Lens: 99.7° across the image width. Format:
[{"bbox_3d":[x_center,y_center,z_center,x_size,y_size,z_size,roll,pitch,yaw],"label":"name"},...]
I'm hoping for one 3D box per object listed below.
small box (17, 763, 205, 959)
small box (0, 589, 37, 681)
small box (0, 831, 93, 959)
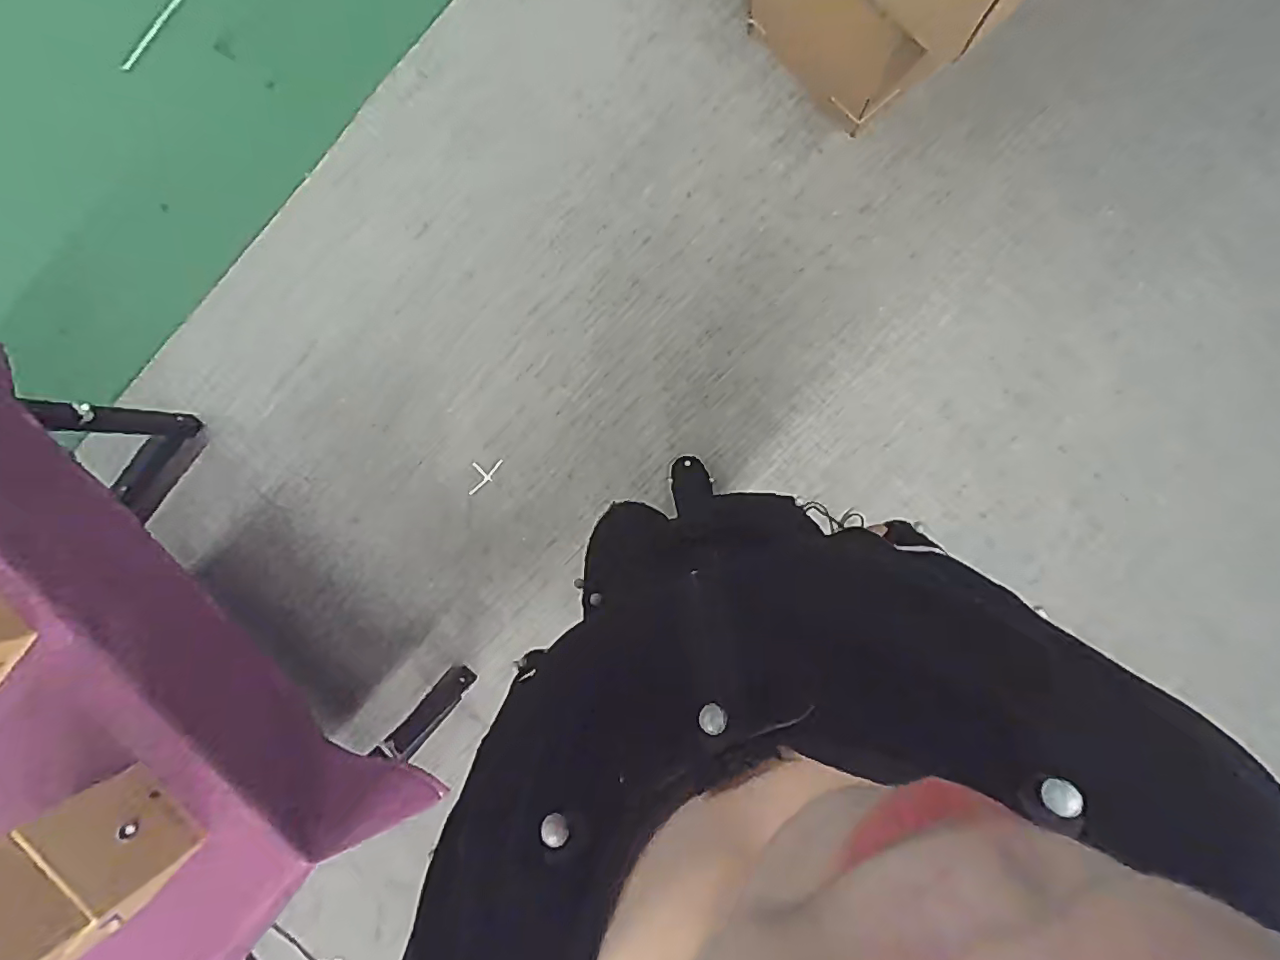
[{"bbox_3d":[-0.799,0.564,0.793,0.168,0.176,0.179,44,96,3],"label":"small box"},{"bbox_3d":[-1.092,0.253,0.811,0.179,0.176,0.168,43,96,3],"label":"small box"},{"bbox_3d":[-0.820,0.568,0.631,0.179,0.176,0.168,43,95,3],"label":"small box"}]
